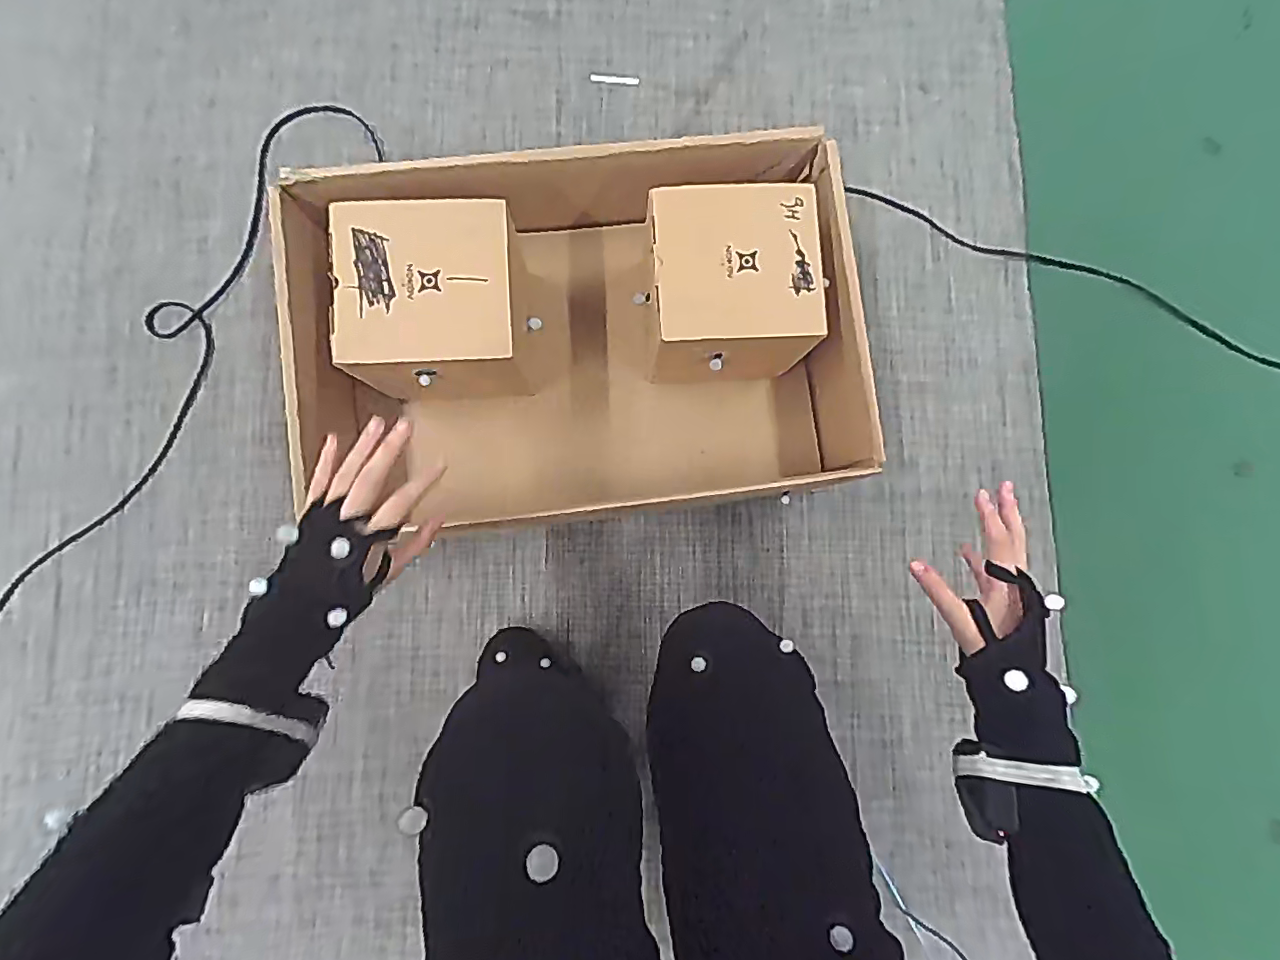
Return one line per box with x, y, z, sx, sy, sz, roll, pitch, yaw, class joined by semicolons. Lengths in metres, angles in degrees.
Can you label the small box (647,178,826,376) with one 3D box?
0.098;-0.223;0.632;0.179;0.176;0.168;-2;85;-3;small box
